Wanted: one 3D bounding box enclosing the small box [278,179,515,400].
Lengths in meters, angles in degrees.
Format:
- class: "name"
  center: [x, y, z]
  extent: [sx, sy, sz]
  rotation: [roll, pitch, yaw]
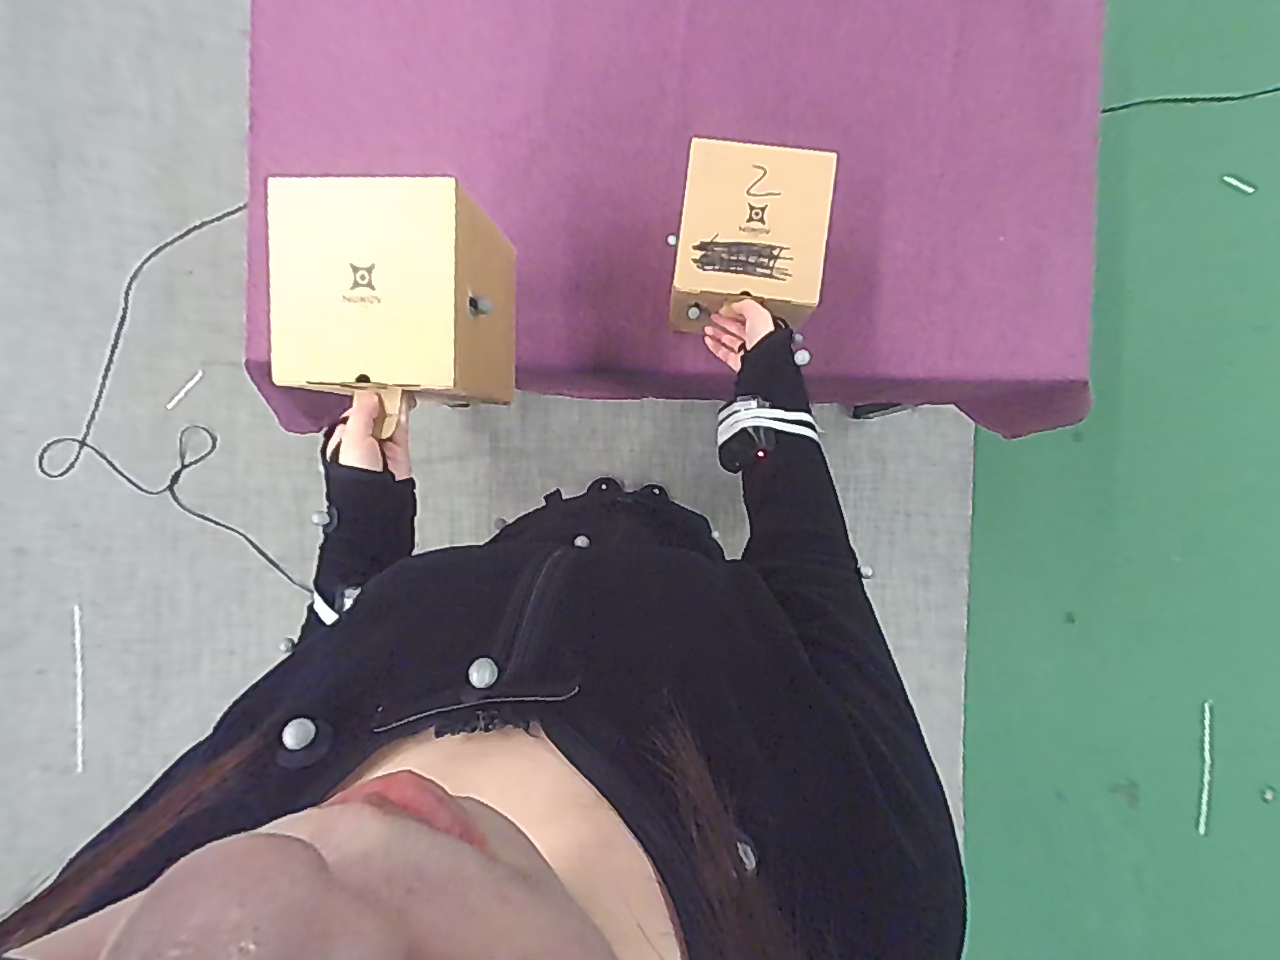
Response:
- class: "small box"
  center: [-0.233, -0.179, 0.554]
  extent: [0.168, 0.176, 0.179]
  rotation: [2, 95, 4]
